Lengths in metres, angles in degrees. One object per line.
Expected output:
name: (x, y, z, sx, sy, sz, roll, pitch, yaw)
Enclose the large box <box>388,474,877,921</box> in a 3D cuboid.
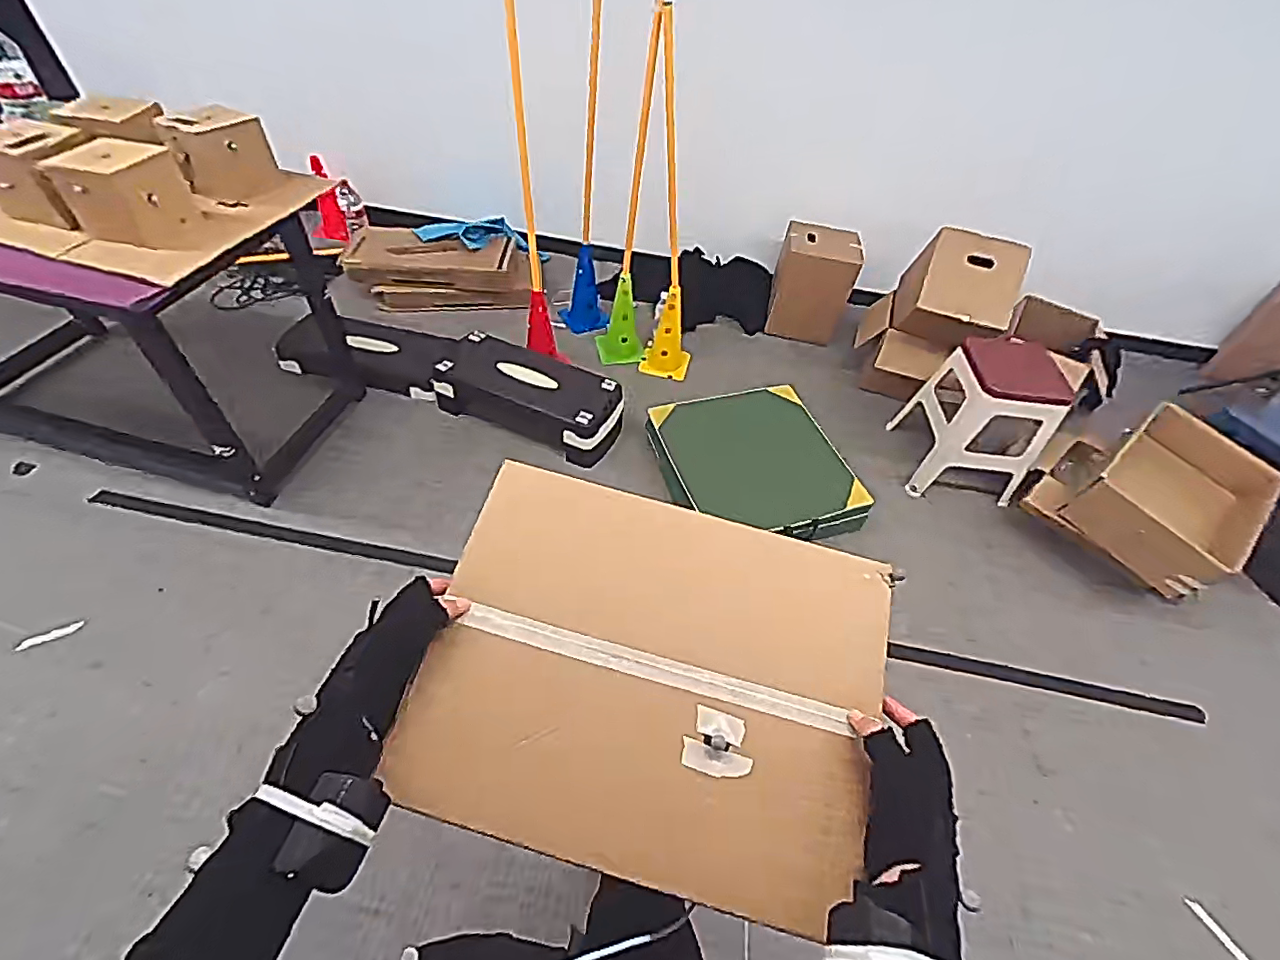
large box: (0.005, 0.234, 0.635, 0.408, 0.320, 0.320, 15, 66, 3)
